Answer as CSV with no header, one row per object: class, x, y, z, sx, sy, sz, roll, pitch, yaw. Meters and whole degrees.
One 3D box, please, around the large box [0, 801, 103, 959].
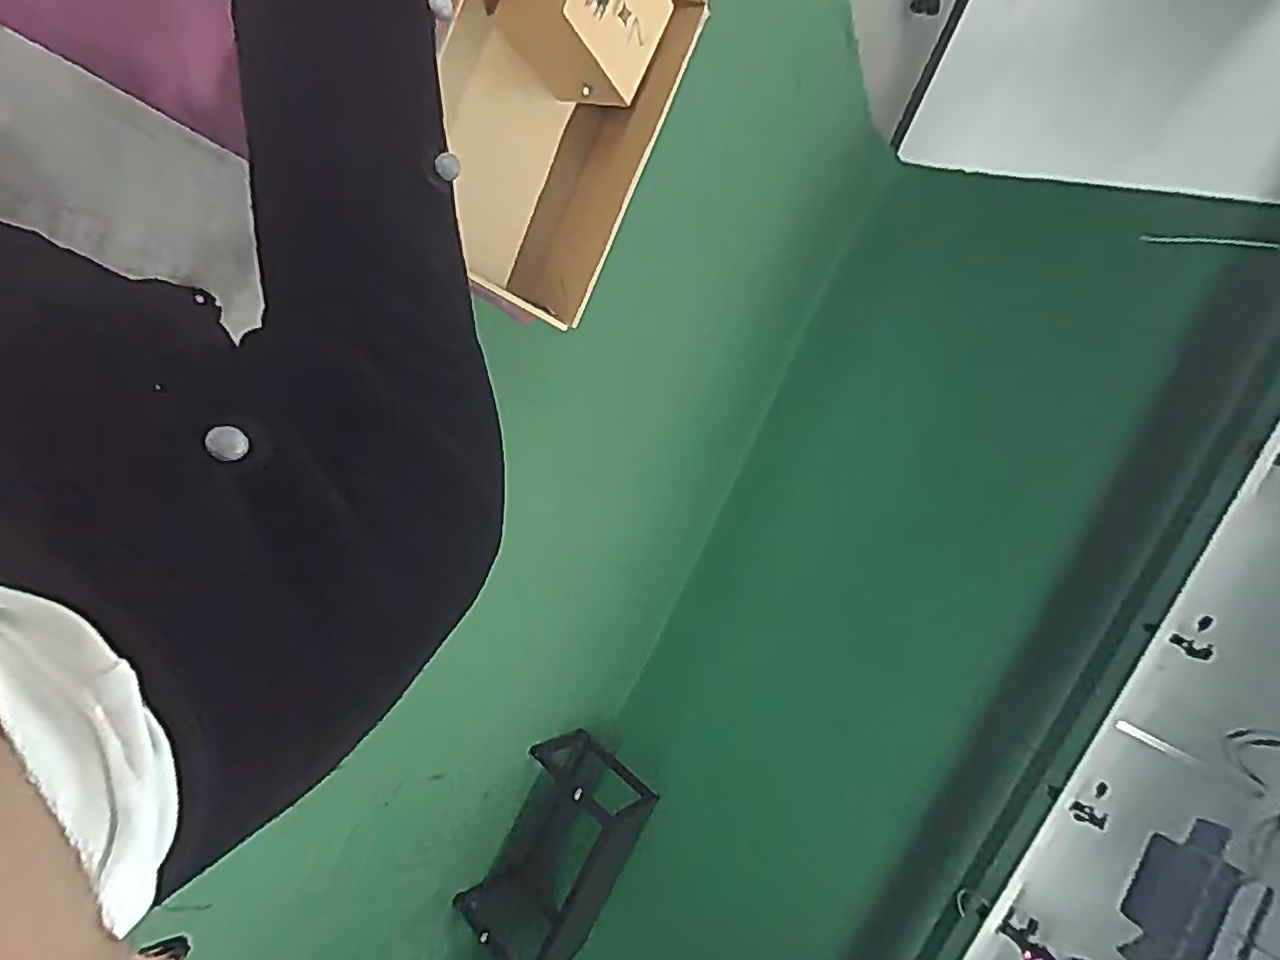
large box,-1.679,1.112,1.321,0.408,0.320,0.320,-31,138,-43
